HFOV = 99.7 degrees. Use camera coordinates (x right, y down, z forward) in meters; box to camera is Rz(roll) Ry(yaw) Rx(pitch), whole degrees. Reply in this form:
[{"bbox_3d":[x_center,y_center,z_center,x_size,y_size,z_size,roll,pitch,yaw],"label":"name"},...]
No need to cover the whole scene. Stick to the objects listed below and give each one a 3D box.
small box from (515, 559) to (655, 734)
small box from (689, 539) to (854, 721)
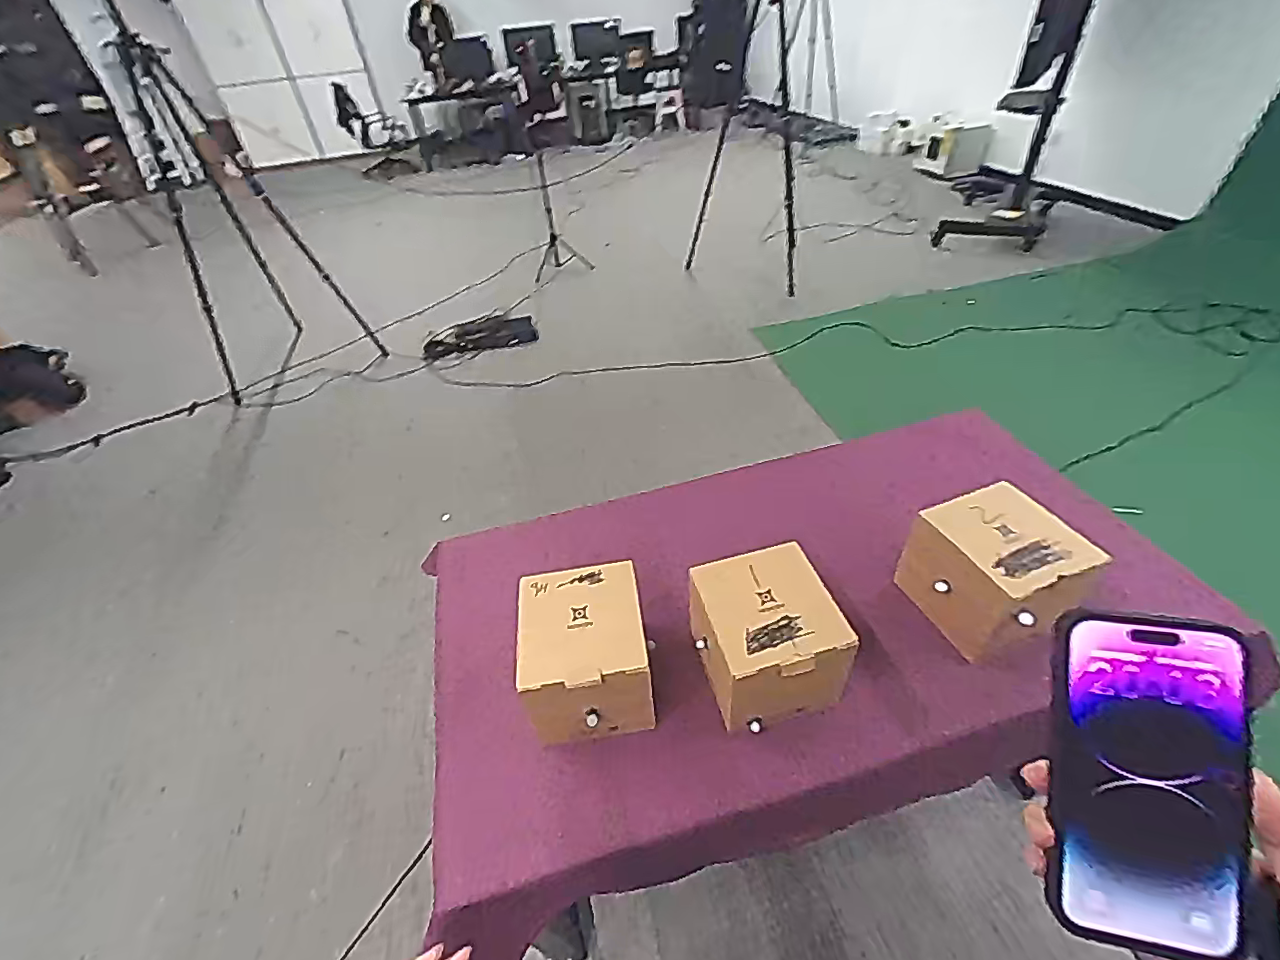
[{"bbox_3d":[-0.074,0.243,0.773,0.168,0.176,0.179,-9,43,-2],"label":"small box"},{"bbox_3d":[0.175,0.218,0.767,0.168,0.176,0.179,-13,42,-7],"label":"small box"}]
